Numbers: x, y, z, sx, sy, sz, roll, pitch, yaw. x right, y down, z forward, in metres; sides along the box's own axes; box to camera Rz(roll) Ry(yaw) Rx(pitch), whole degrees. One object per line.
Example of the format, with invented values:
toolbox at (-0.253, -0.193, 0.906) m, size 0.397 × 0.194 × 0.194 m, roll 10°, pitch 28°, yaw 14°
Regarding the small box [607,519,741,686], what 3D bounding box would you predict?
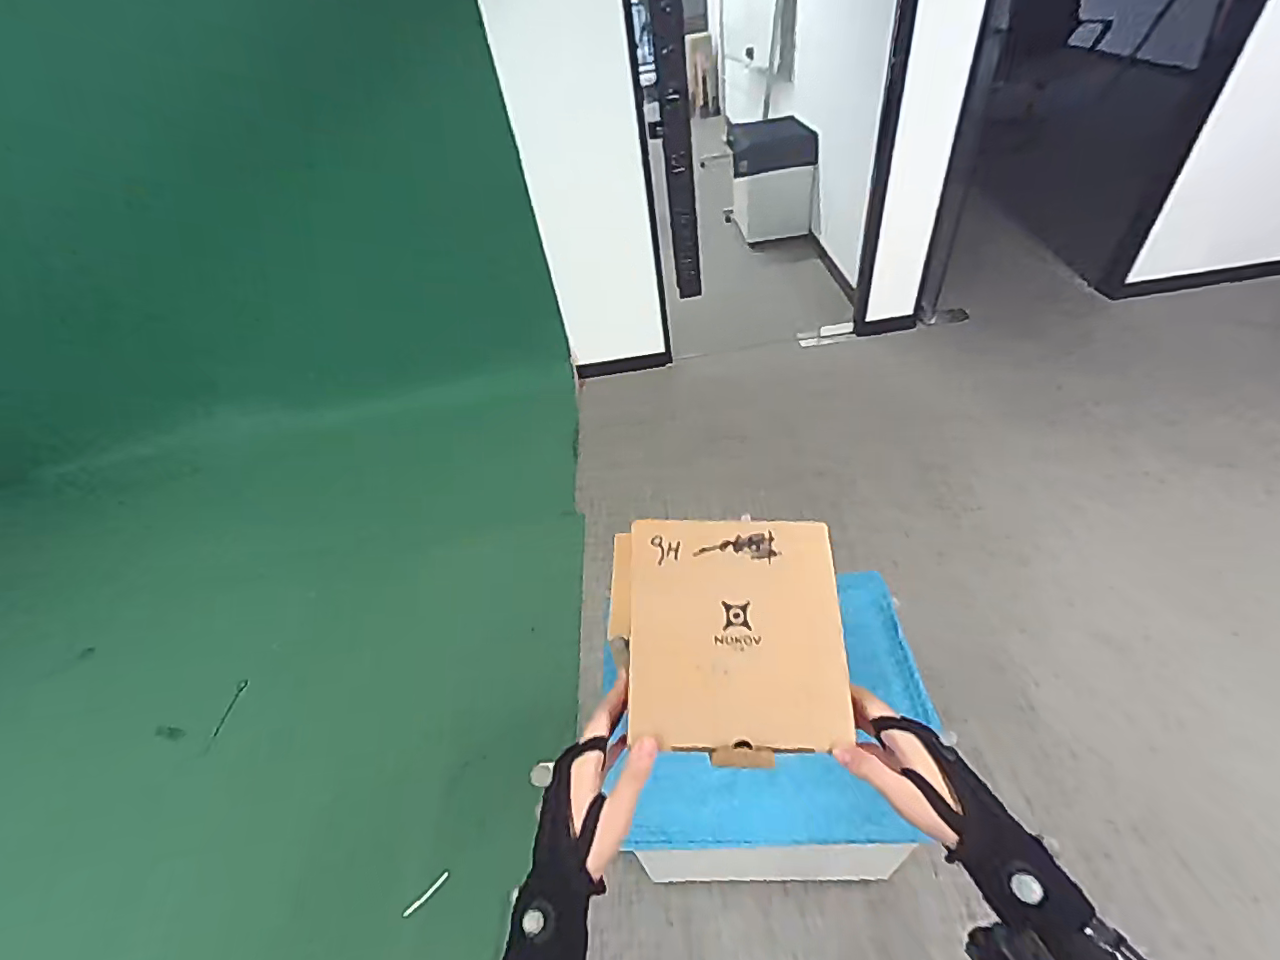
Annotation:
small box at (0.054, 0.179, 0.769) m, size 0.168 × 0.176 × 0.179 m, roll -4°, pitch 43°, yaw 6°
